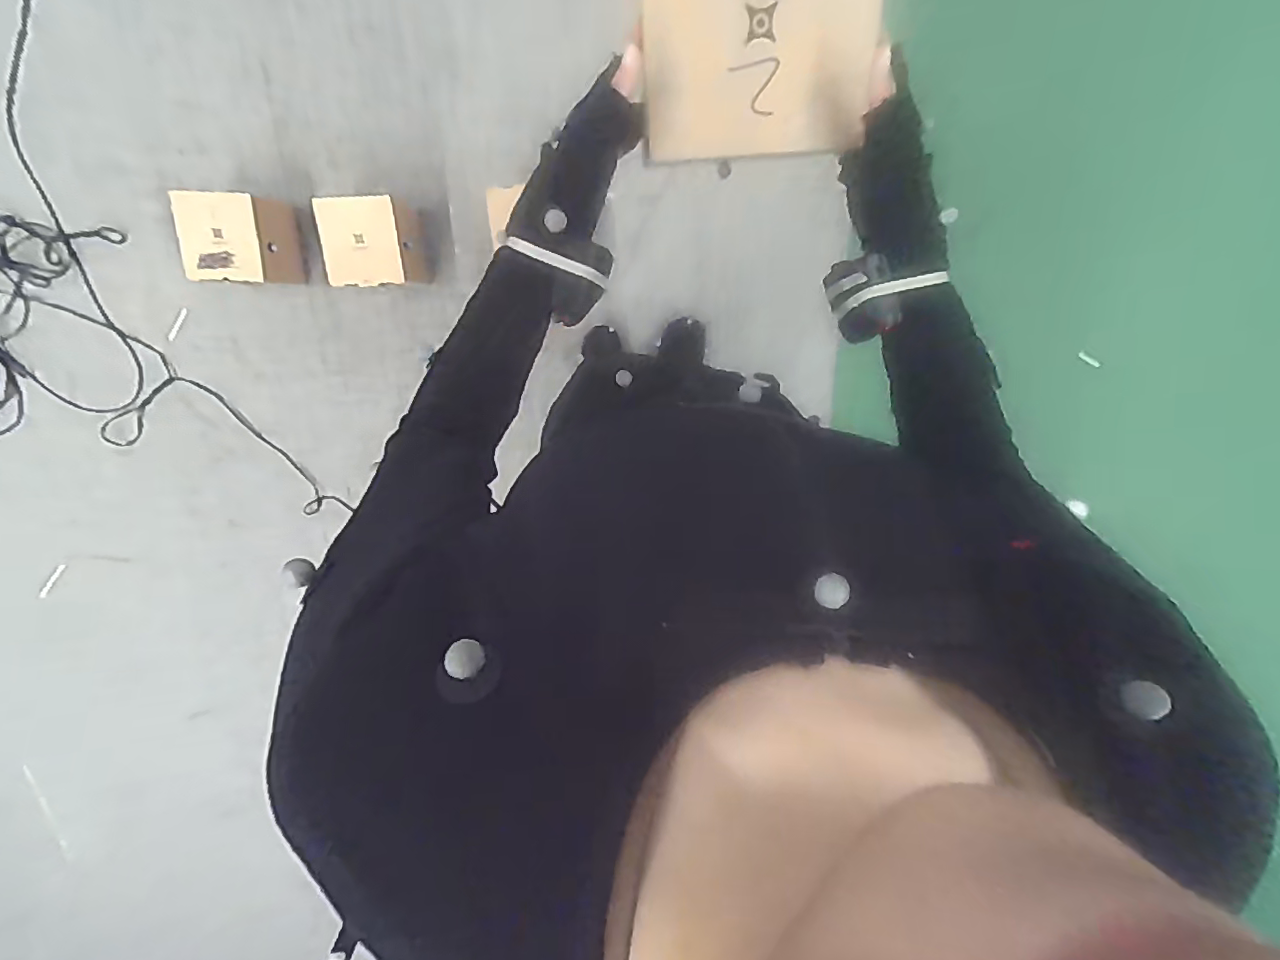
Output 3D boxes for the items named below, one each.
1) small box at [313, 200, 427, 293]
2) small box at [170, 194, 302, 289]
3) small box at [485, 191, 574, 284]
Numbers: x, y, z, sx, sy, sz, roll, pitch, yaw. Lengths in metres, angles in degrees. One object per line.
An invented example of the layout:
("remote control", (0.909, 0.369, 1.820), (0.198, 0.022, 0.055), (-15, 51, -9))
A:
("small box", (-0.603, -0.524, 1.231), (0.168, 0.176, 0.179), (-3, 108, -1))
("small box", (-0.893, -0.527, 1.216), (0.168, 0.176, 0.179), (2, 106, -3))
("small box", (-0.244, -0.547, 1.238), (0.168, 0.176, 0.179), (-5, 108, -2))
